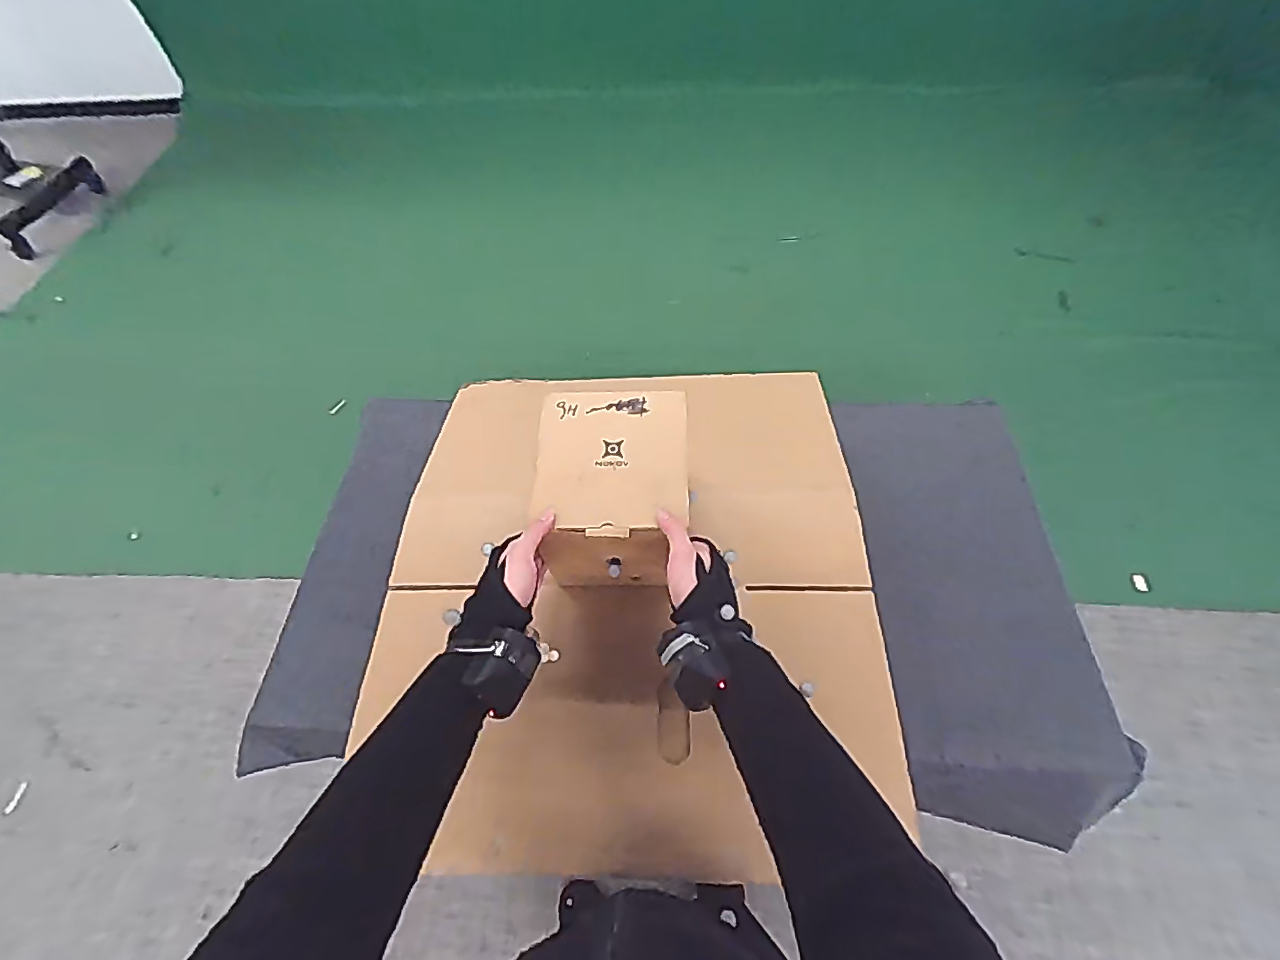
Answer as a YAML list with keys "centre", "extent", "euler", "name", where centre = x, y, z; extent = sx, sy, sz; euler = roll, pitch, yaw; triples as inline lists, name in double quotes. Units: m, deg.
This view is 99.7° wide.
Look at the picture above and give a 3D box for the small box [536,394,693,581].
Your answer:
- centre: [-0.022, 0.018, 0.658]
  extent: [0.168, 0.176, 0.179]
  euler: [-3, 60, 2]
  name: "small box"
